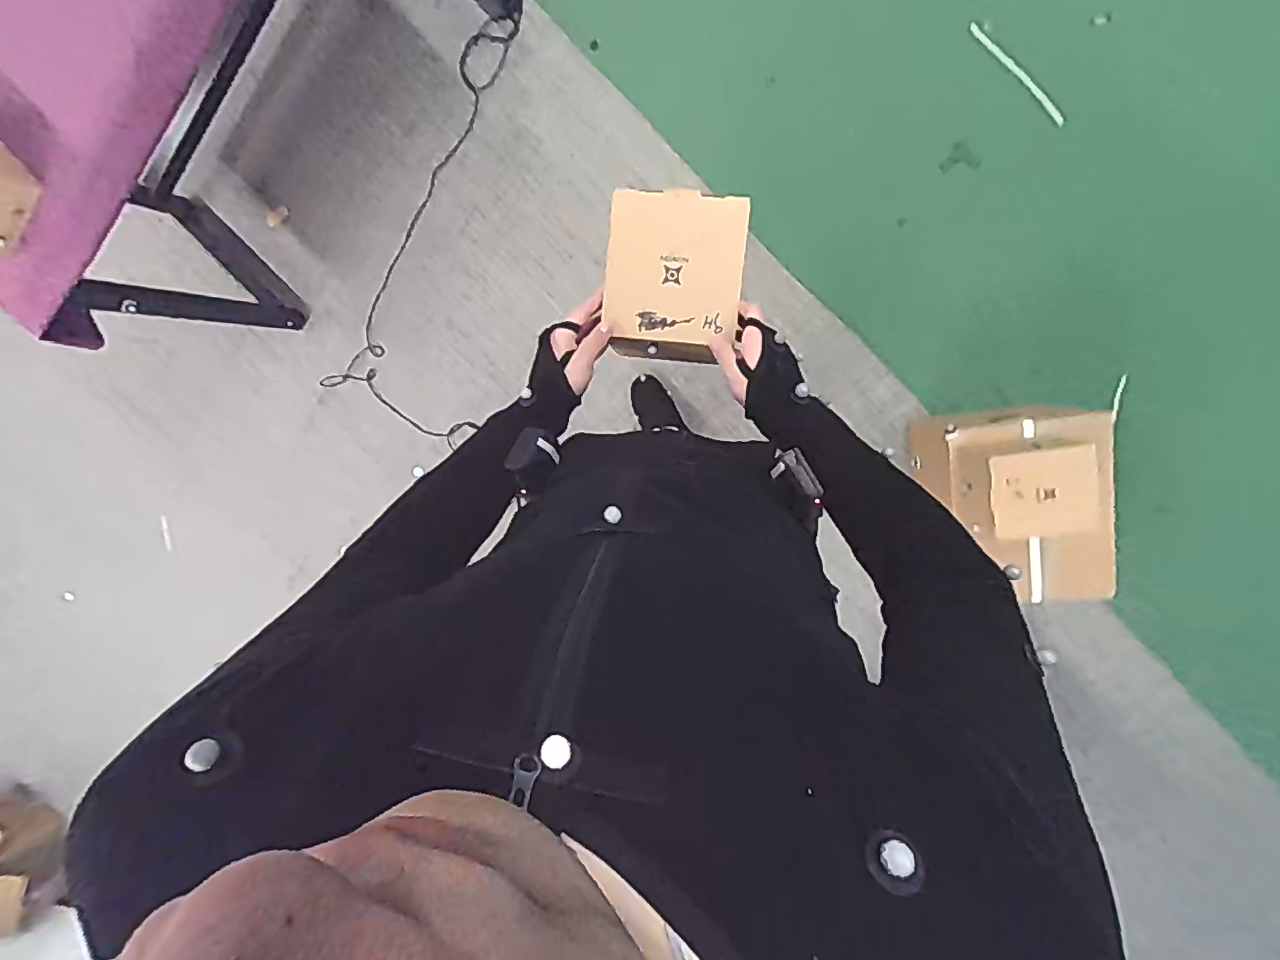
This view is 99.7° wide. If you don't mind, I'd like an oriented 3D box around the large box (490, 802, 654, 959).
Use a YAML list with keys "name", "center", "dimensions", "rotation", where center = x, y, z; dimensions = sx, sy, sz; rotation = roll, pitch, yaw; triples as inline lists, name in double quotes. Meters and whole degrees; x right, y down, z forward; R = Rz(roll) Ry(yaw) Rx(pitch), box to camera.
- name: "large box"
  center: [-0.206, 1.334, 1.775]
  dimensions: [0.408, 0.320, 0.320]
  rotation: [-19, 97, 13]

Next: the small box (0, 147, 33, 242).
- name: "small box"
  center: [-1.239, -0.536, 0.940]
  dimensions: [0.168, 0.176, 0.179]
  rotation: [-44, 89, 15]

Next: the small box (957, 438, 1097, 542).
- name: "small box"
  center: [0.762, 0.014, 1.080]
  dimensions: [0.179, 0.176, 0.168]
  rotation: [-8, 99, 14]
